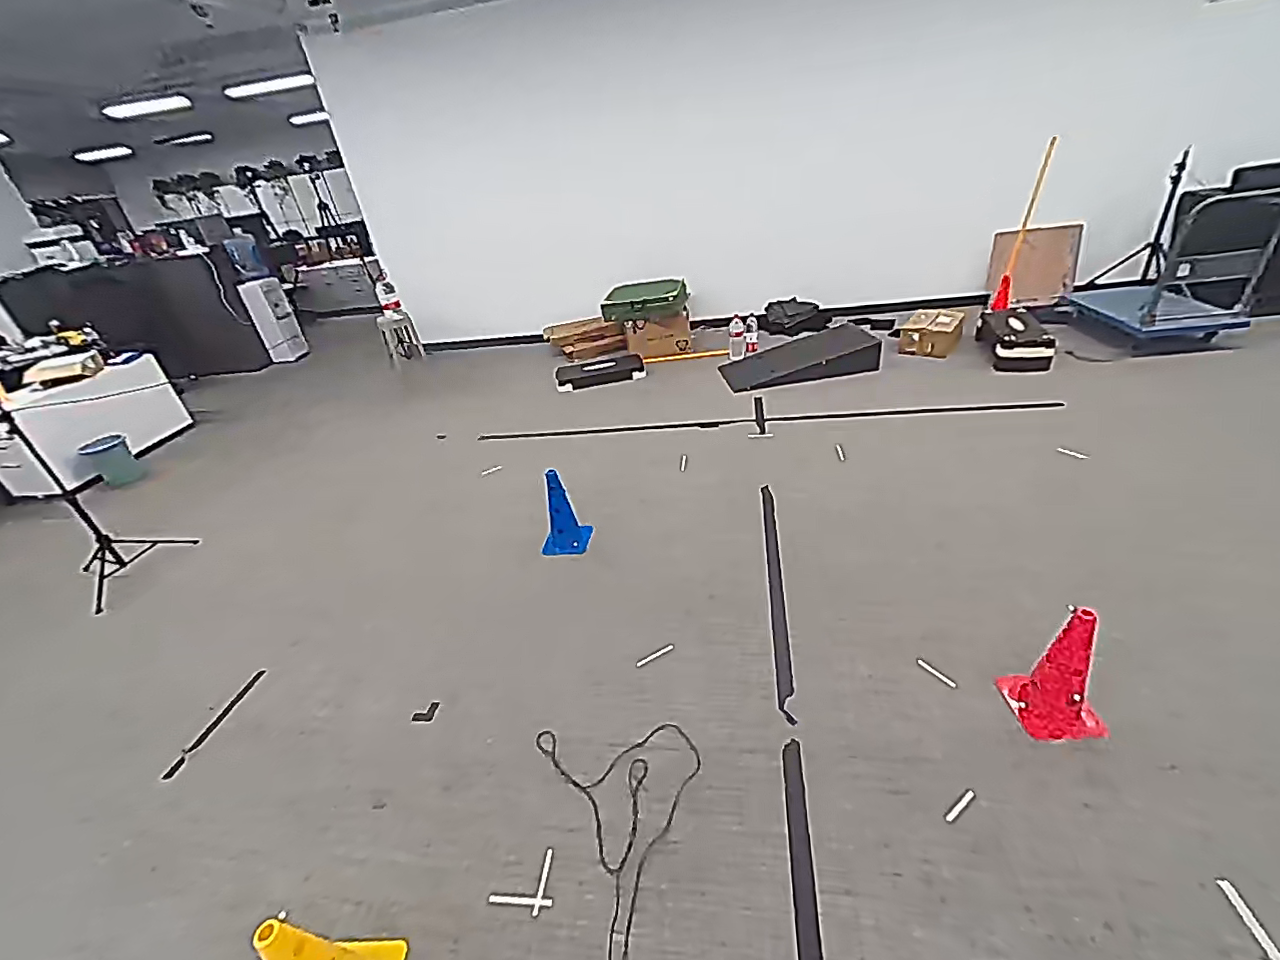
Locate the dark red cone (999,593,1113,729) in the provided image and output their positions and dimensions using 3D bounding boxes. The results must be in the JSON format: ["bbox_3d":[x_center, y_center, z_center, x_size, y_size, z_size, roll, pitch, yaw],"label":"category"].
[{"bbox_3d":[1.097,0.443,1.384,0.201,0.394,0.202,-7,31,4],"label":"dark red cone"}]

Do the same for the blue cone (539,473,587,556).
[{"bbox_3d":[-0.363,0.134,2.318,0.192,0.380,0.193,-3,31,11],"label":"blue cone"}]
